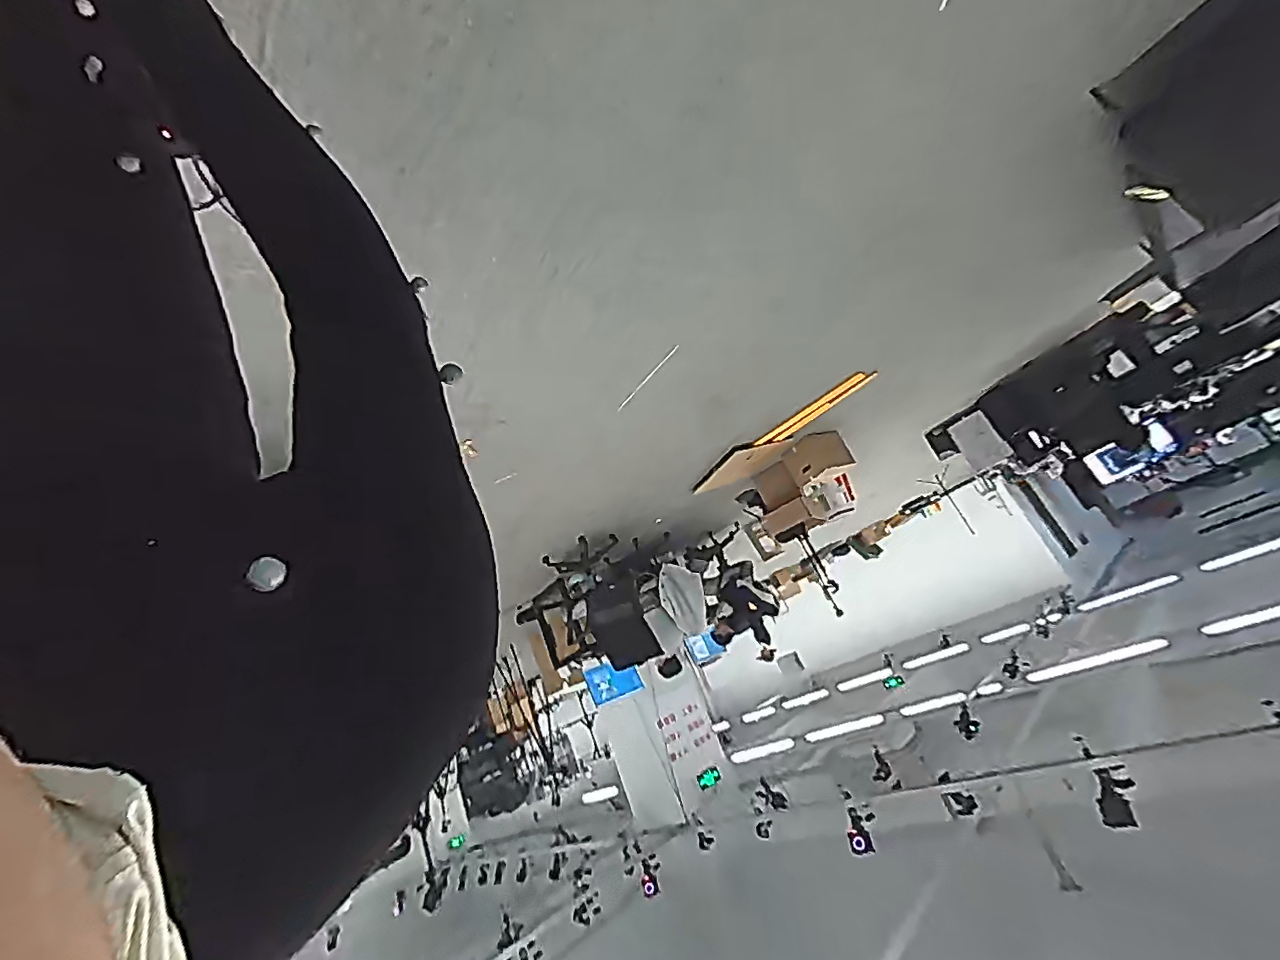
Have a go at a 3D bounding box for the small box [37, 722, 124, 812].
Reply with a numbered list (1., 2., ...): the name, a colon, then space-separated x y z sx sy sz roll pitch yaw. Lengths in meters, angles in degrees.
1. small box: -1.585 0.811 1.539 0.168 0.176 0.179 -4 151 -44

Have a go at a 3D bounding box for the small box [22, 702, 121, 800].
1. small box: -1.443 0.685 1.379 0.168 0.176 0.179 -3 152 -45
